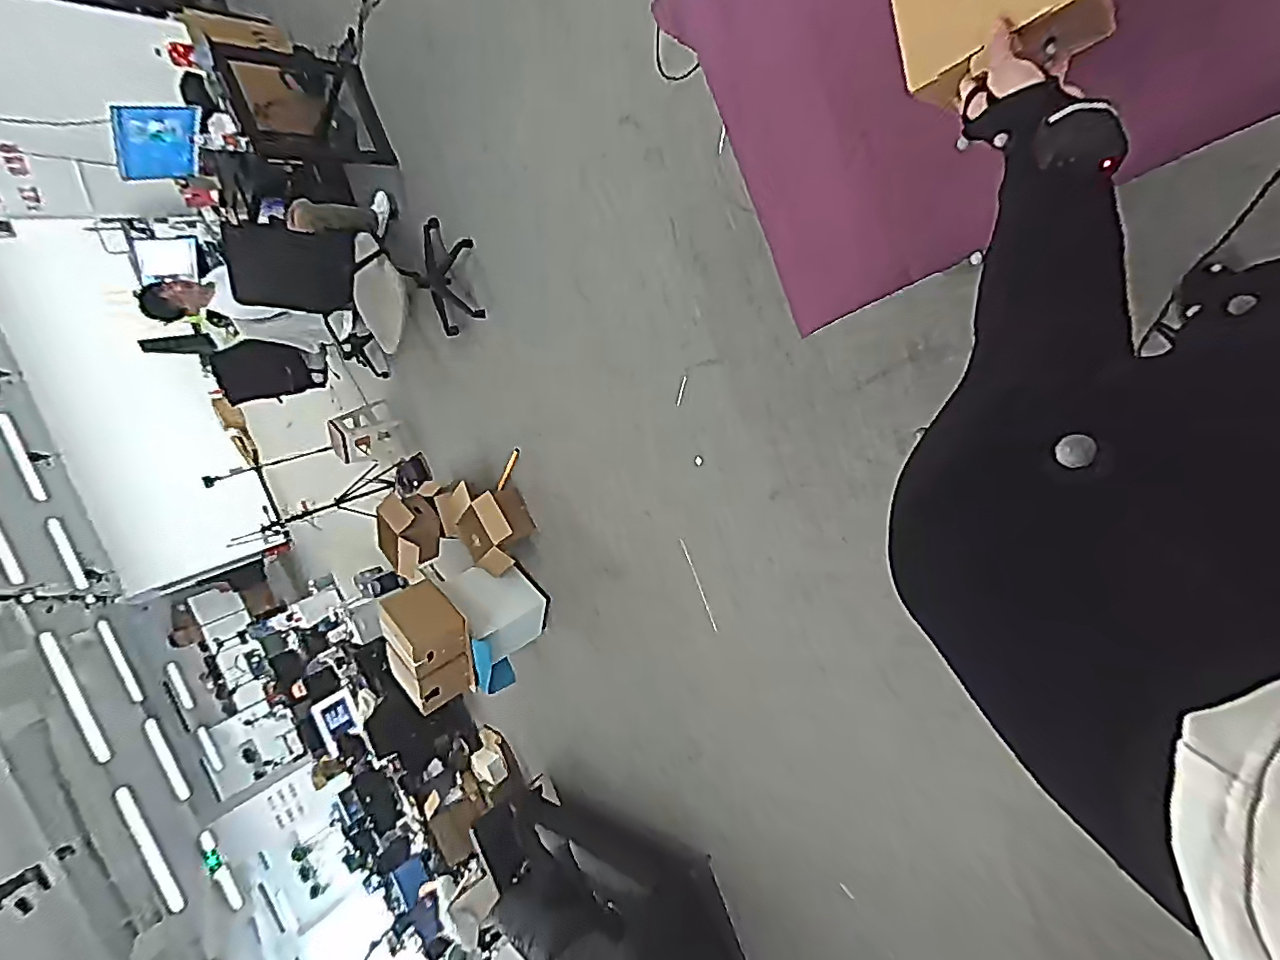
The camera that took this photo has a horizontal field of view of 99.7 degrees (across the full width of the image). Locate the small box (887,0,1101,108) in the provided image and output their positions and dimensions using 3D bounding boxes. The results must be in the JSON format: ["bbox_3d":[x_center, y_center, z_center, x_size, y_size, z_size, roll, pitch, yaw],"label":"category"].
[{"bbox_3d":[0.394,-0.553,0.606,0.168,0.176,0.179,-6,102,47],"label":"small box"}]
